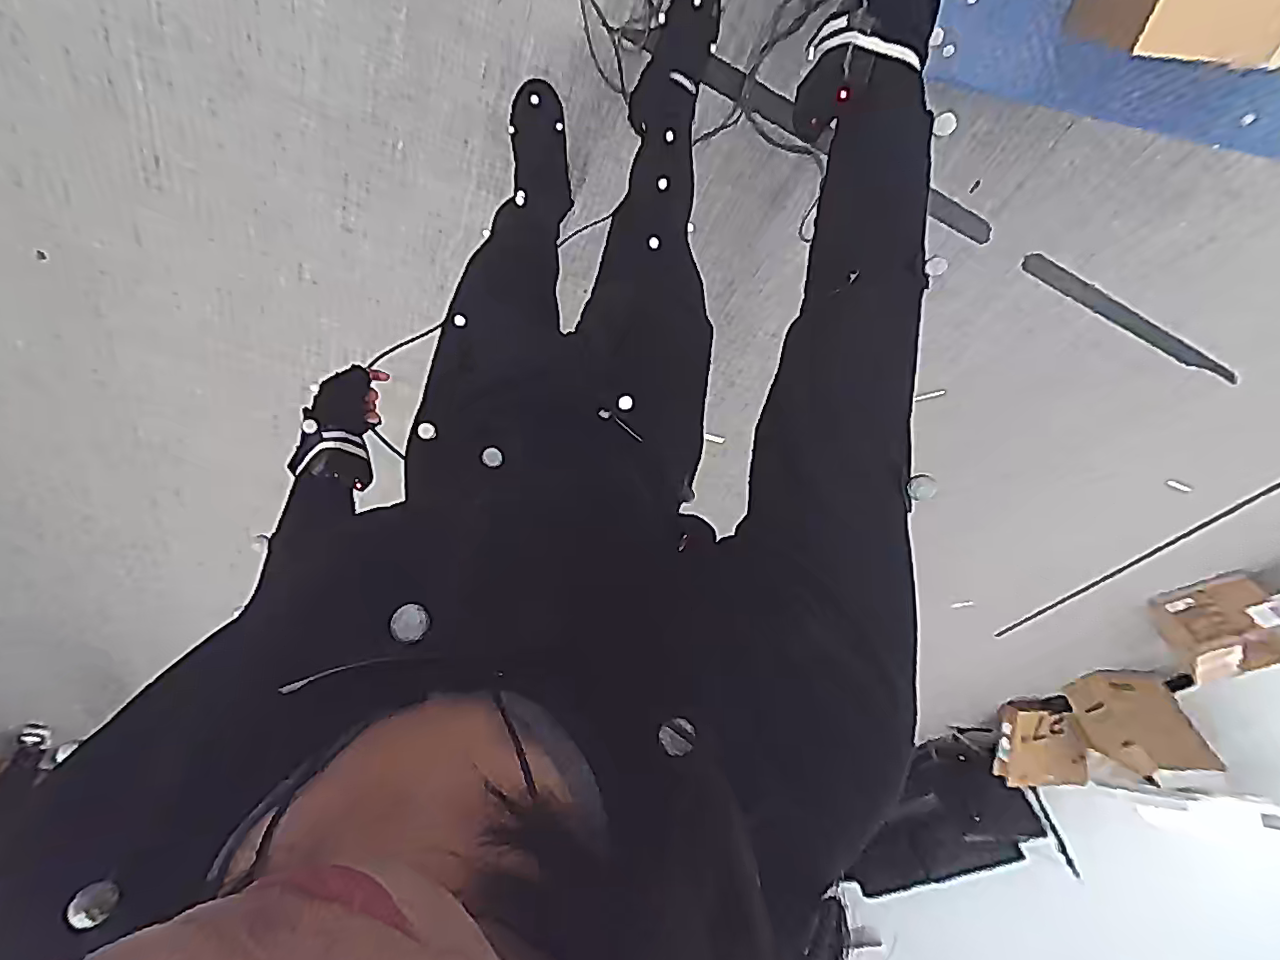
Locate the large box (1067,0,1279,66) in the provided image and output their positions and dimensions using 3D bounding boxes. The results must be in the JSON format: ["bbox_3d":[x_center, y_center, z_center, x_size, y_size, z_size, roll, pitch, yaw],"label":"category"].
[{"bbox_3d":[0.803,-0.748,0.618,0.320,0.320,0.408,11,136,10],"label":"large box"}]
